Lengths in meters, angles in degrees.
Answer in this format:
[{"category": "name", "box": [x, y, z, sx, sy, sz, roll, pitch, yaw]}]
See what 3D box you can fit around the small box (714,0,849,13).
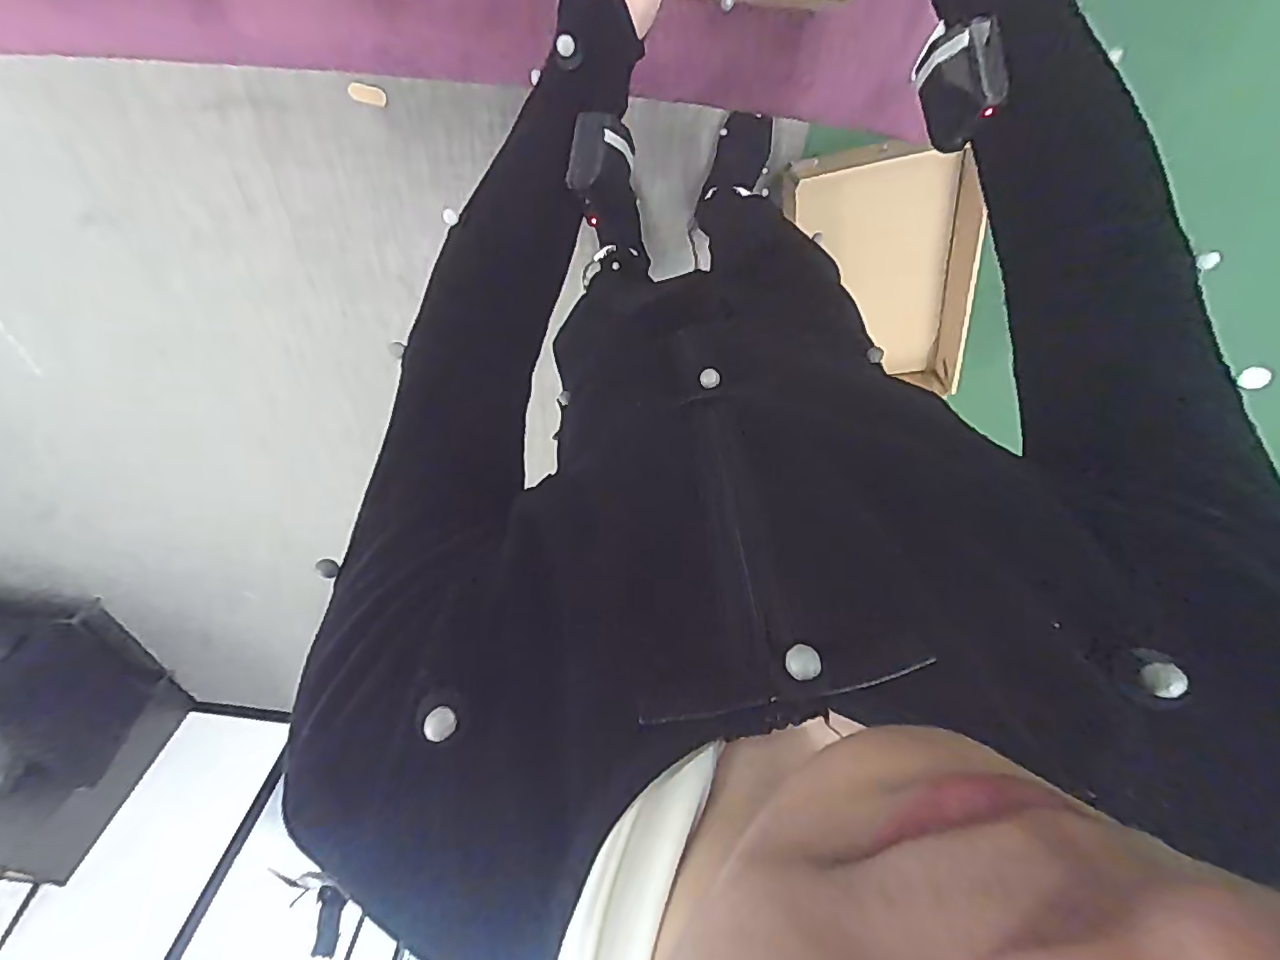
[{"category": "small box", "box": [0.102, -0.499, 0.429, 0.168, 0.176, 0.179, 9, 129, 2]}]
